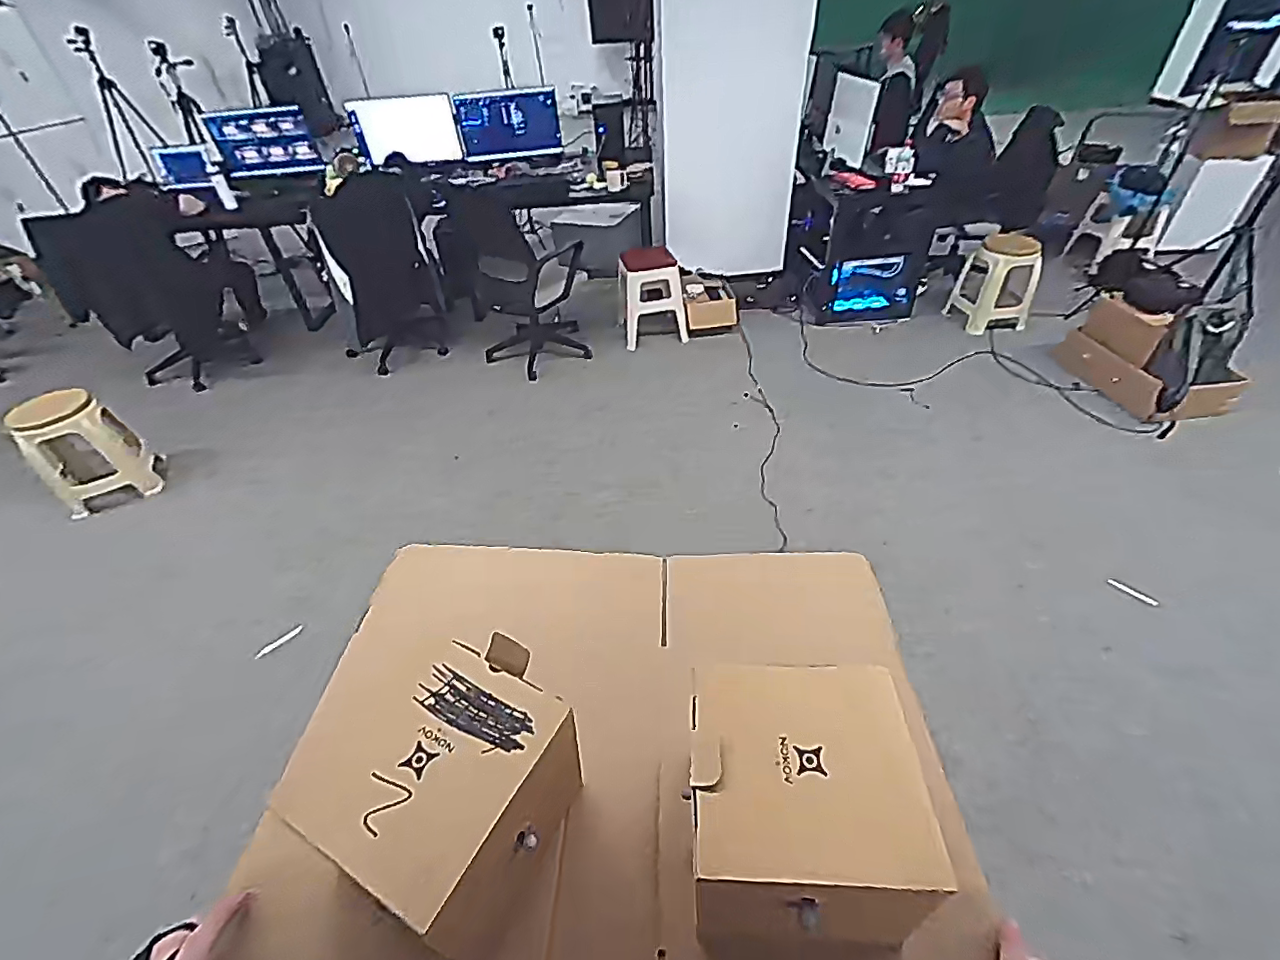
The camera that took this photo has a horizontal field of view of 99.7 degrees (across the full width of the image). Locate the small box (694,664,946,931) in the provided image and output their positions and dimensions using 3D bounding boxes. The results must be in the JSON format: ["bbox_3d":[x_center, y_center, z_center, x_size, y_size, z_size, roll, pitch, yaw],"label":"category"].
[{"bbox_3d":[0.139,0.287,0.492,0.179,0.176,0.168,-2,40,6],"label":"small box"}]
